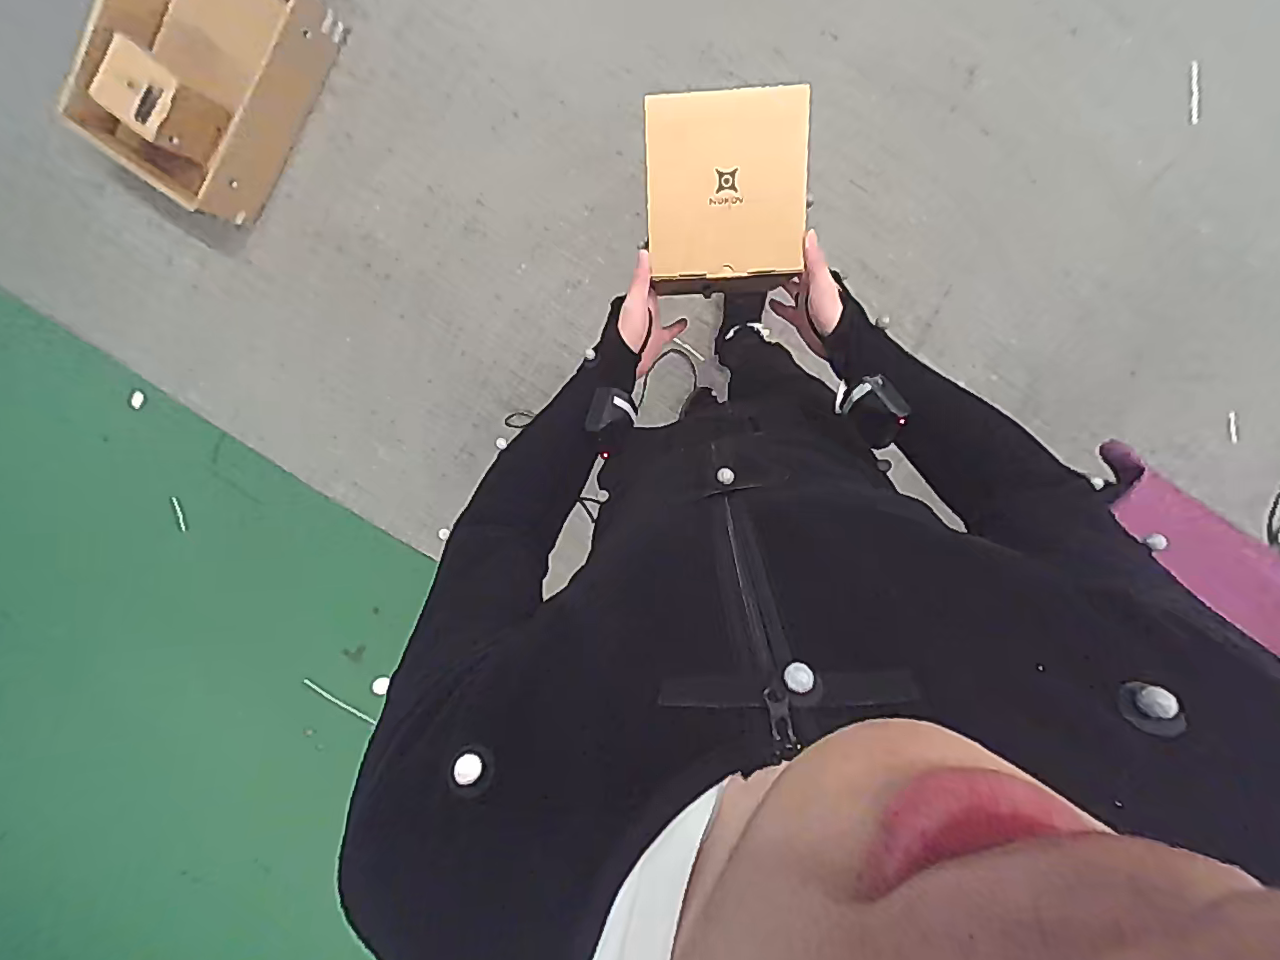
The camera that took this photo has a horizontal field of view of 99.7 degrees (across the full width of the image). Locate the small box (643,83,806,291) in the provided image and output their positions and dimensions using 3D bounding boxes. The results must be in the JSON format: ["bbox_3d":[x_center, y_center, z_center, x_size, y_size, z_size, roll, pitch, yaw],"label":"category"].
[{"bbox_3d":[0.088,-0.324,0.633,0.168,0.176,0.179,-2,104,3],"label":"small box"}]
